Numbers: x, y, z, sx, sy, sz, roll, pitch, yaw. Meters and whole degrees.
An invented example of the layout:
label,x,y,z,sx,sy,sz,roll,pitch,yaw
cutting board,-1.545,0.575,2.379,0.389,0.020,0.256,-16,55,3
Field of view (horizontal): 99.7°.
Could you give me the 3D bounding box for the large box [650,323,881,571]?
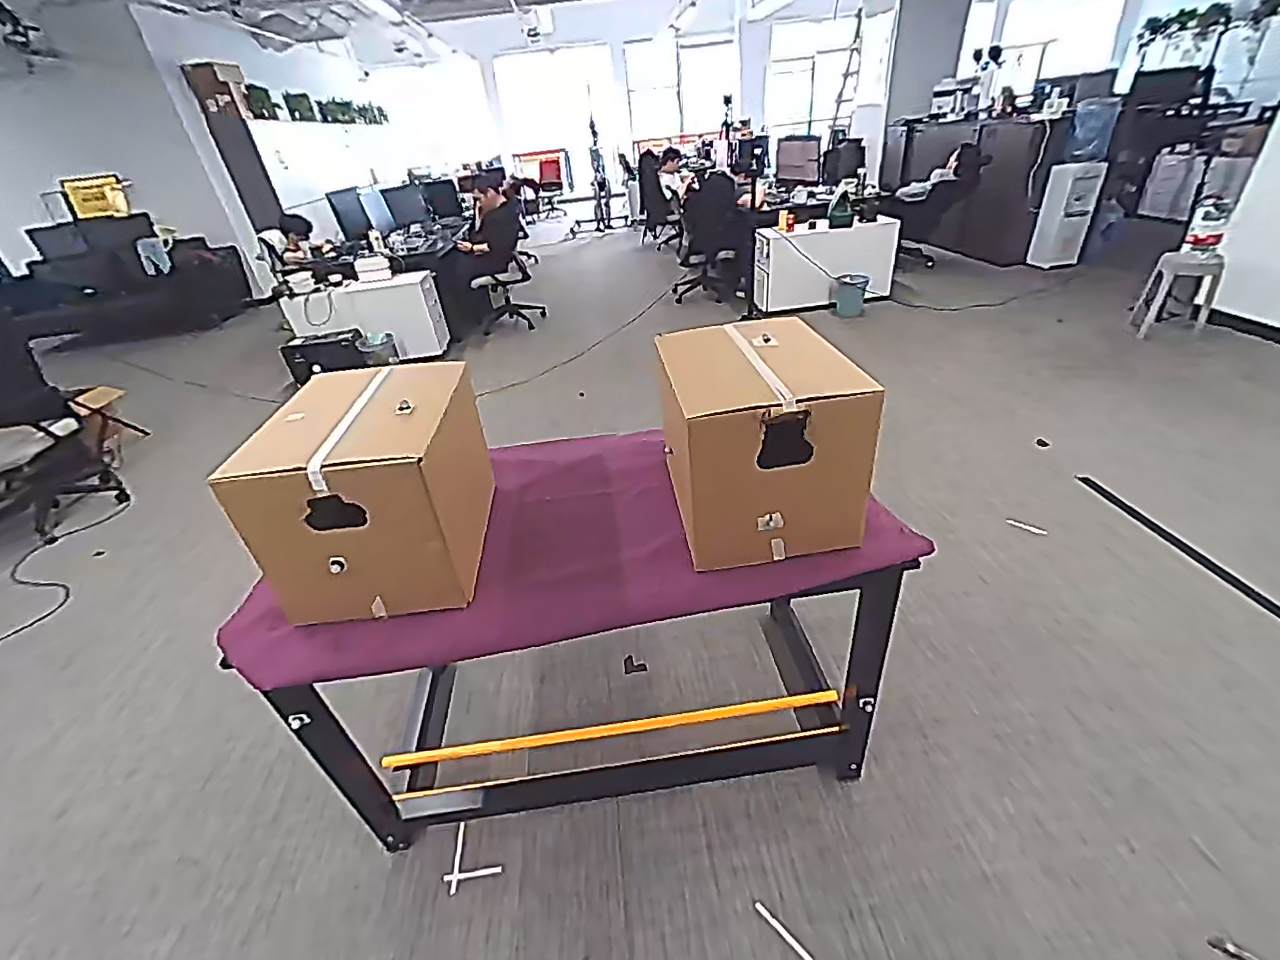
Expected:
label,x,y,z,sx,sy,sz,roll,pitch,yaw
large box,0.212,-0.084,1.059,0.320,0.320,0.408,-8,32,-3
